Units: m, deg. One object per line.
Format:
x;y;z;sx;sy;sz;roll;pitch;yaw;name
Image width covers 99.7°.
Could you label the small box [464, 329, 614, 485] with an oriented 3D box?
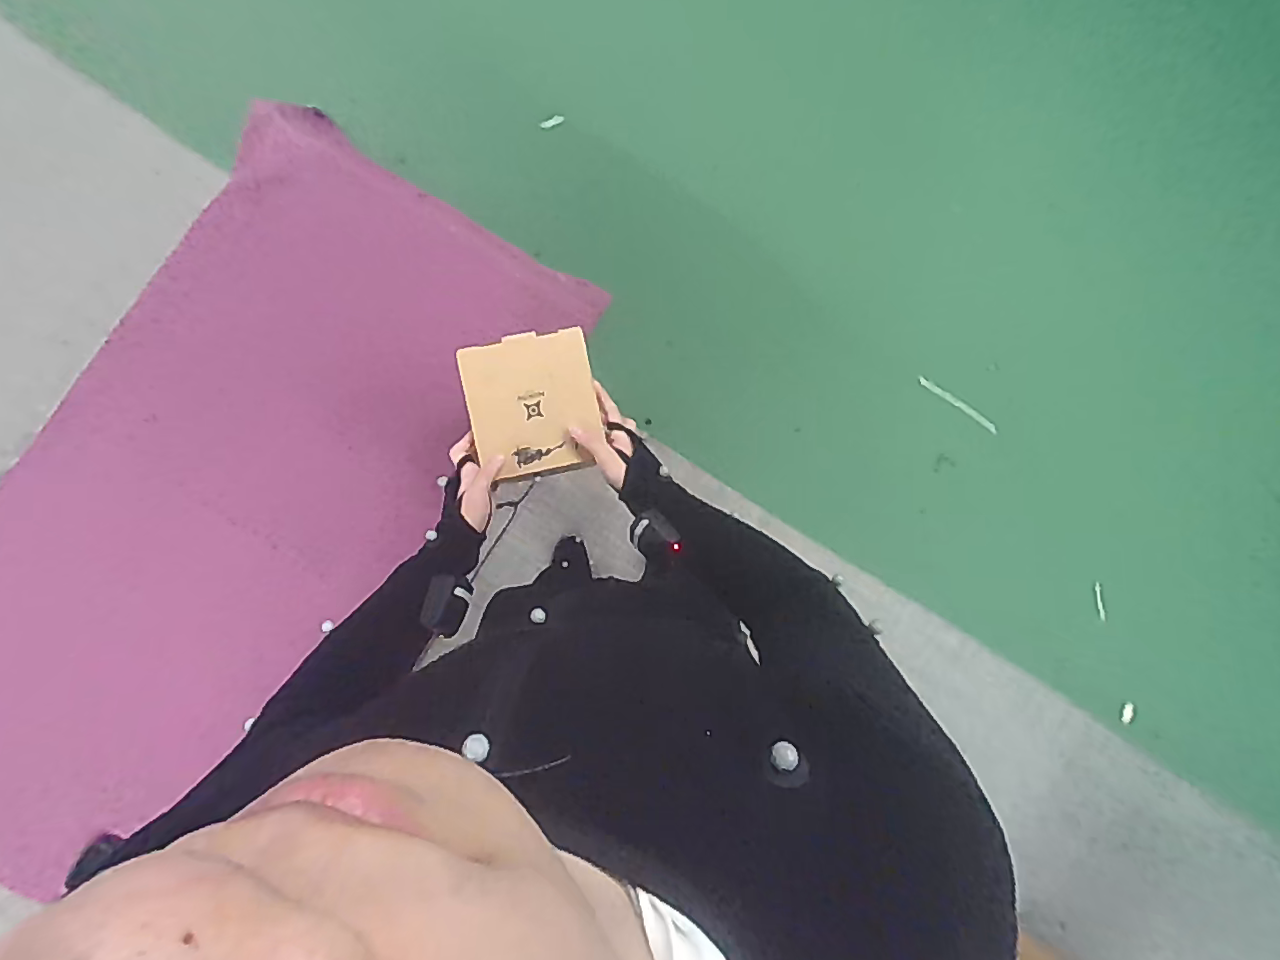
-0.135;-0.092;0.764;0.168;0.176;0.179;-11;90;-4;small box
